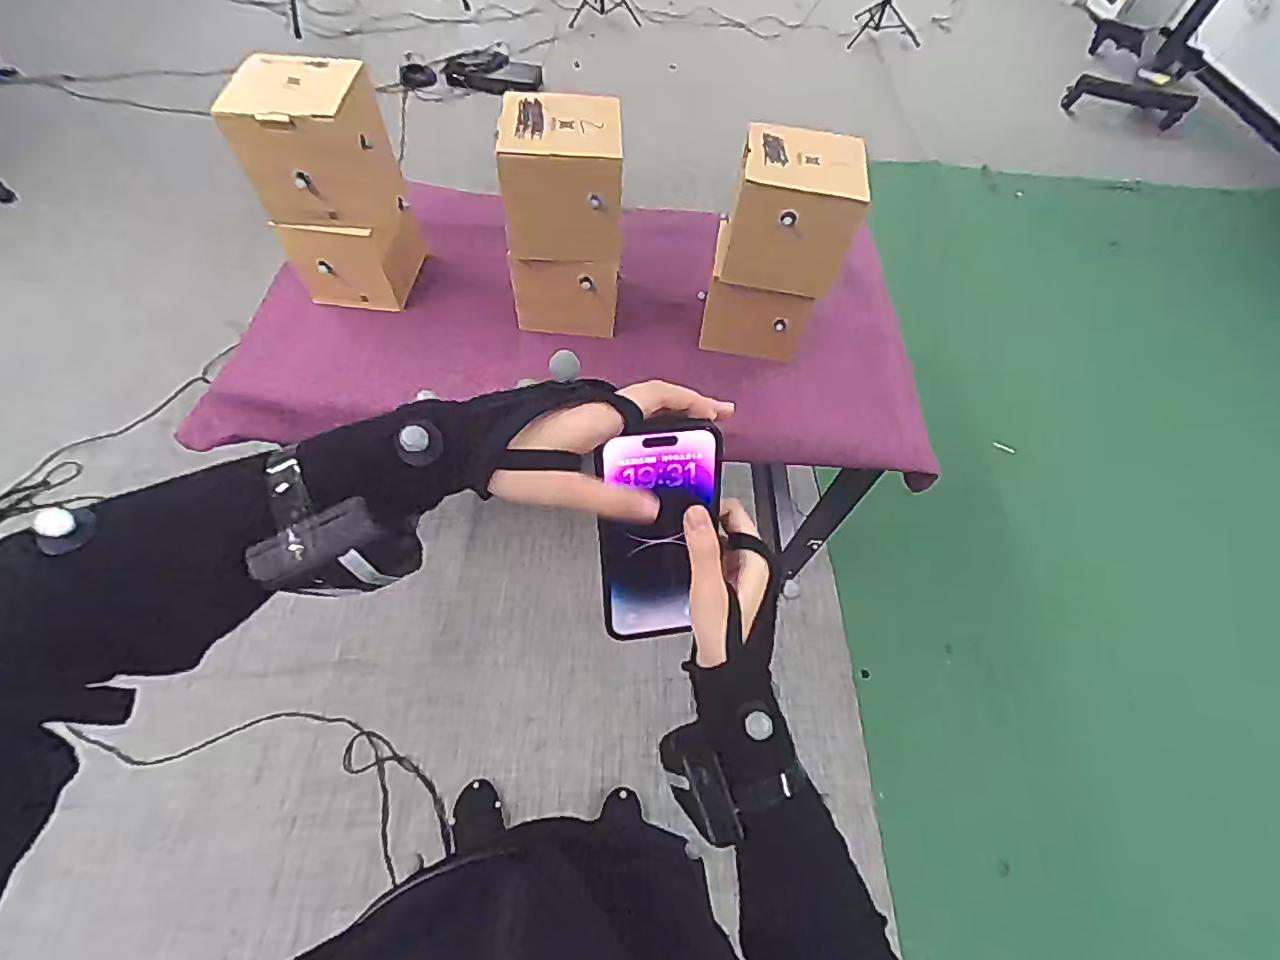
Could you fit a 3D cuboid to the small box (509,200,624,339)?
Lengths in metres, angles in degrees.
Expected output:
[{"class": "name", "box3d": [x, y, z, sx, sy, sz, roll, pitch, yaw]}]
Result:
[{"class": "small box", "box3d": [-0.125, -0.376, 0.984, 0.179, 0.176, 0.168, 4, 58, -1]}]

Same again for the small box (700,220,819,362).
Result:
[{"class": "small box", "box3d": [0.214, -0.337, 0.983, 0.179, 0.176, 0.168, 9, 58, 3]}]

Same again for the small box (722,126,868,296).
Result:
[{"class": "small box", "box3d": [0.229, -0.409, 0.836, 0.179, 0.176, 0.168, 10, 58, 2]}]

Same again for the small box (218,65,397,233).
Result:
[{"class": "small box", "box3d": [-0.505, -0.516, 0.855, 0.168, 0.176, 0.179, 1, 59, -4]}]

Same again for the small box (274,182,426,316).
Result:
[{"class": "small box", "box3d": [-0.513, -0.423, 0.991, 0.168, 0.176, 0.179, 5, 58, 0]}]
